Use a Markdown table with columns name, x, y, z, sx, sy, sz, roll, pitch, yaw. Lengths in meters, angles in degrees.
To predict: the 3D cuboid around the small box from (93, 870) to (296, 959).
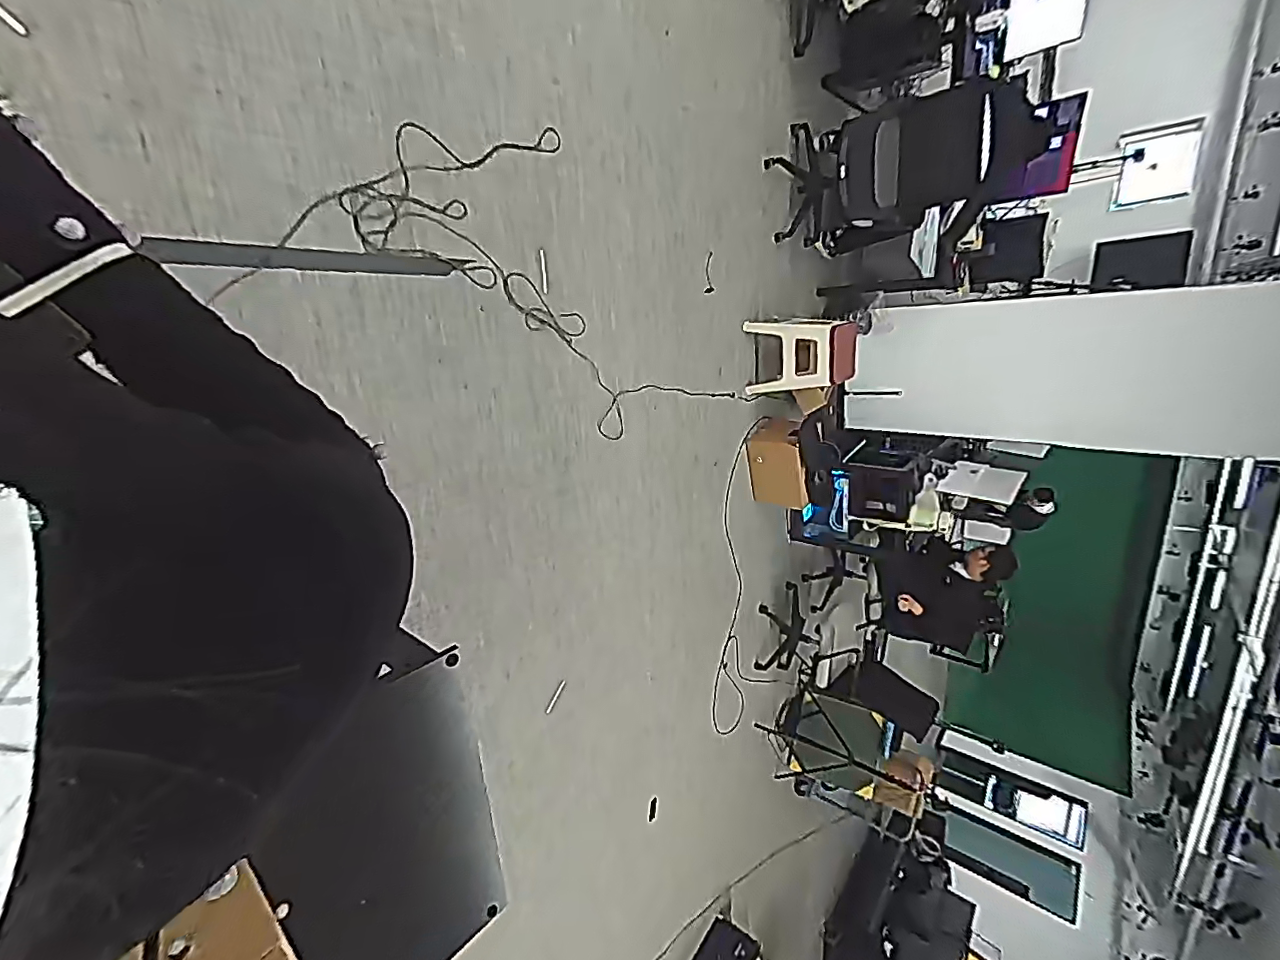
| name | x | y | z | sx | sy | sz | roll | pitch | yaw |
| --- | --- | --- | --- | --- | --- | --- | --- | --- | --- |
| small box | -0.516 | 0.614 | 0.641 | 0.168 | 0.176 | 0.179 | -27 | 117 | -44 |
